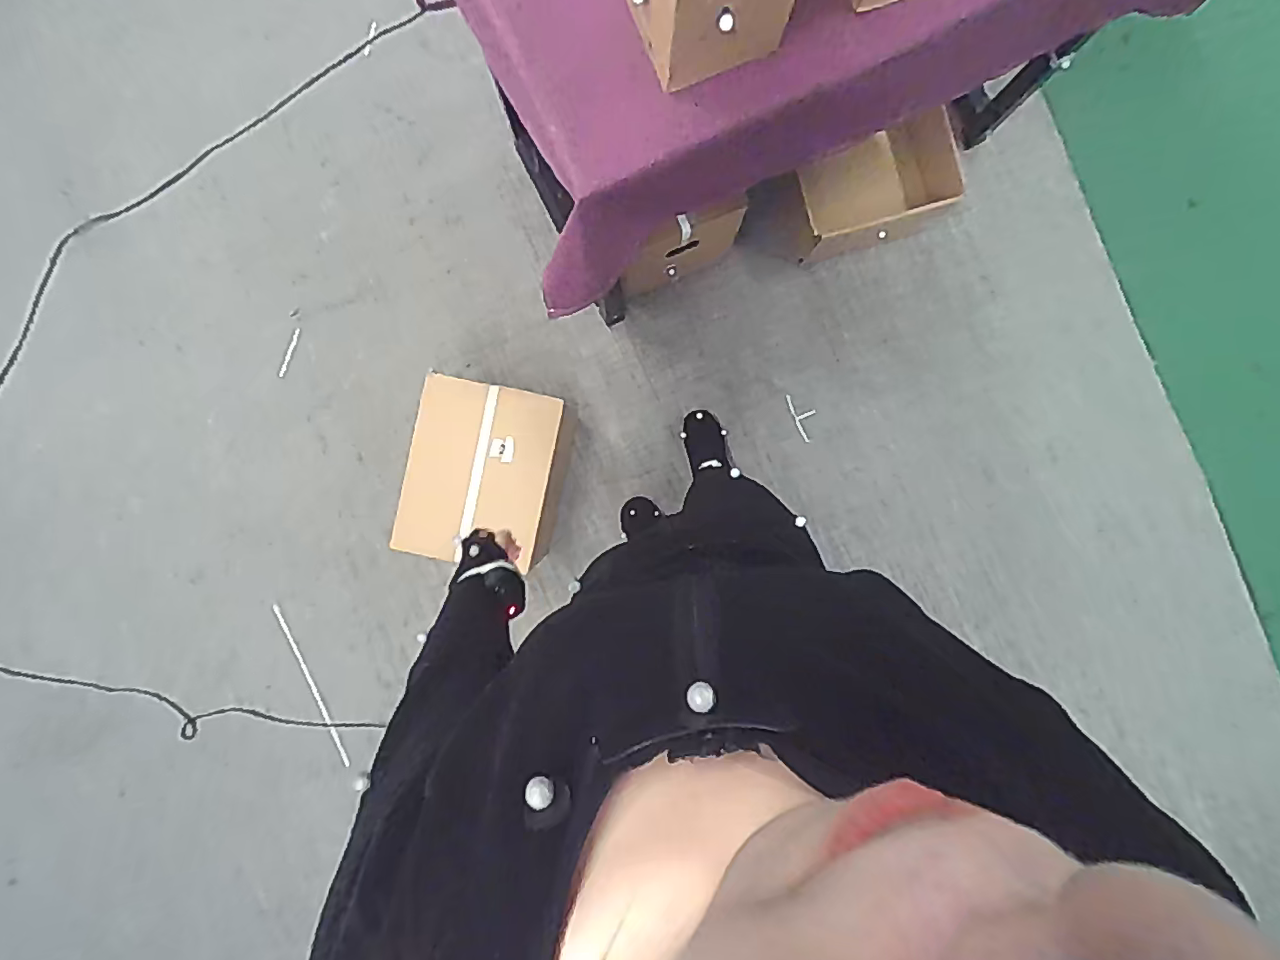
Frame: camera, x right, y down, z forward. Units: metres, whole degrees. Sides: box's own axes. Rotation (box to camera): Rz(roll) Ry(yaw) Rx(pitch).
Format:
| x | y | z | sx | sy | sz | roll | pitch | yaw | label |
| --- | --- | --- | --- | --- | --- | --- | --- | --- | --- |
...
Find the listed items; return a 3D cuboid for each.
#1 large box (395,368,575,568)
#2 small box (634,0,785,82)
| x | y | z | sx | sy | sz | roll | pitch | yaw | label |
| --- | --- | --- | --- | --- | --- | --- | --- | --- | --- |
| -0.360 | -0.024 | 1.343 | 0.320 | 0.320 | 0.408 | 12 | 90 | -2 | large box |
| 0.084 | -0.658 | 0.682 | 0.179 | 0.176 | 0.168 | -23 | 92 | 0 | small box |
